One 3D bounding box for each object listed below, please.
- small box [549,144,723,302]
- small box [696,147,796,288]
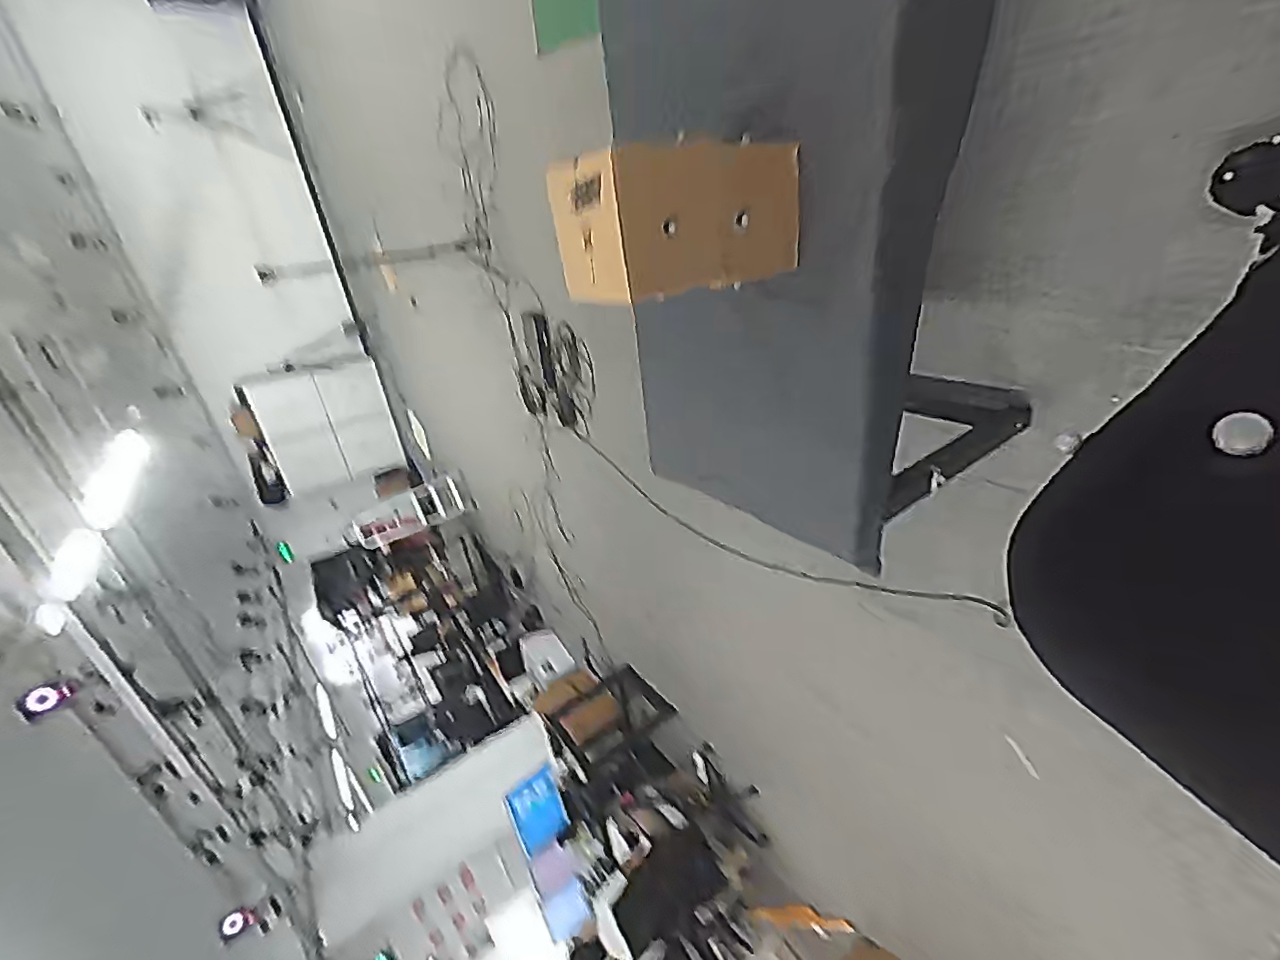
[{"bbox_3d":[-0.002,-0.355,0.760,0.168,0.176,0.179,21,127,52],"label":"small box"},{"bbox_3d":[0.128,-0.407,0.847,0.168,0.176,0.179,25,130,49],"label":"small box"}]
